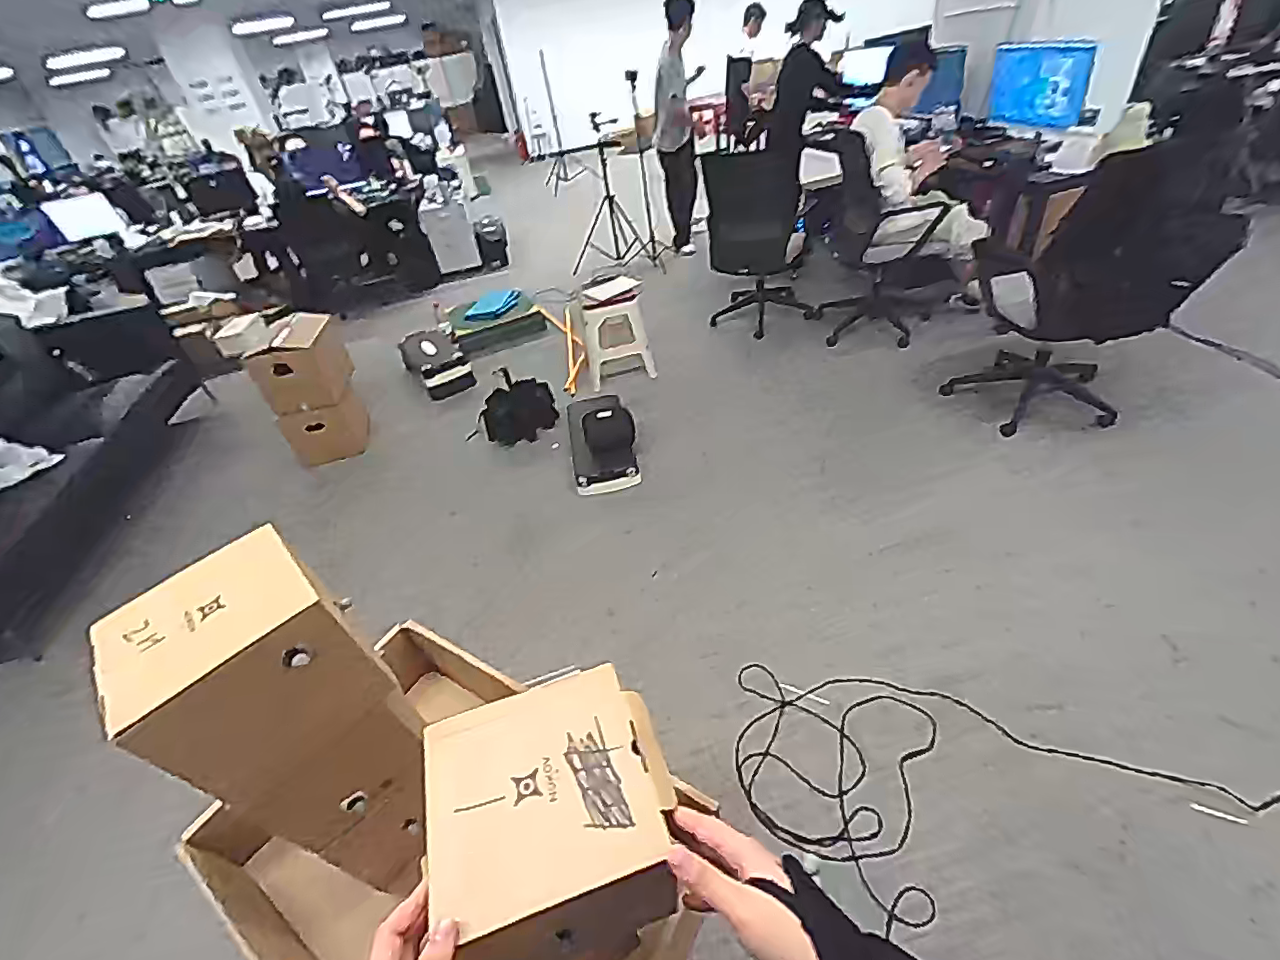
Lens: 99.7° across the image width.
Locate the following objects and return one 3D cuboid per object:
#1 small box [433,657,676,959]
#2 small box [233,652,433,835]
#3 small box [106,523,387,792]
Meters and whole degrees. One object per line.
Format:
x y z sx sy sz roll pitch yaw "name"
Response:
-0.074 0.296 0.491 0.179 0.176 0.168 -15 42 -10 "small box"
-0.395 0.307 0.693 0.168 0.176 0.179 -36 47 -24 "small box"
-0.403 0.185 0.581 0.179 0.176 0.168 -38 47 -26 "small box"
